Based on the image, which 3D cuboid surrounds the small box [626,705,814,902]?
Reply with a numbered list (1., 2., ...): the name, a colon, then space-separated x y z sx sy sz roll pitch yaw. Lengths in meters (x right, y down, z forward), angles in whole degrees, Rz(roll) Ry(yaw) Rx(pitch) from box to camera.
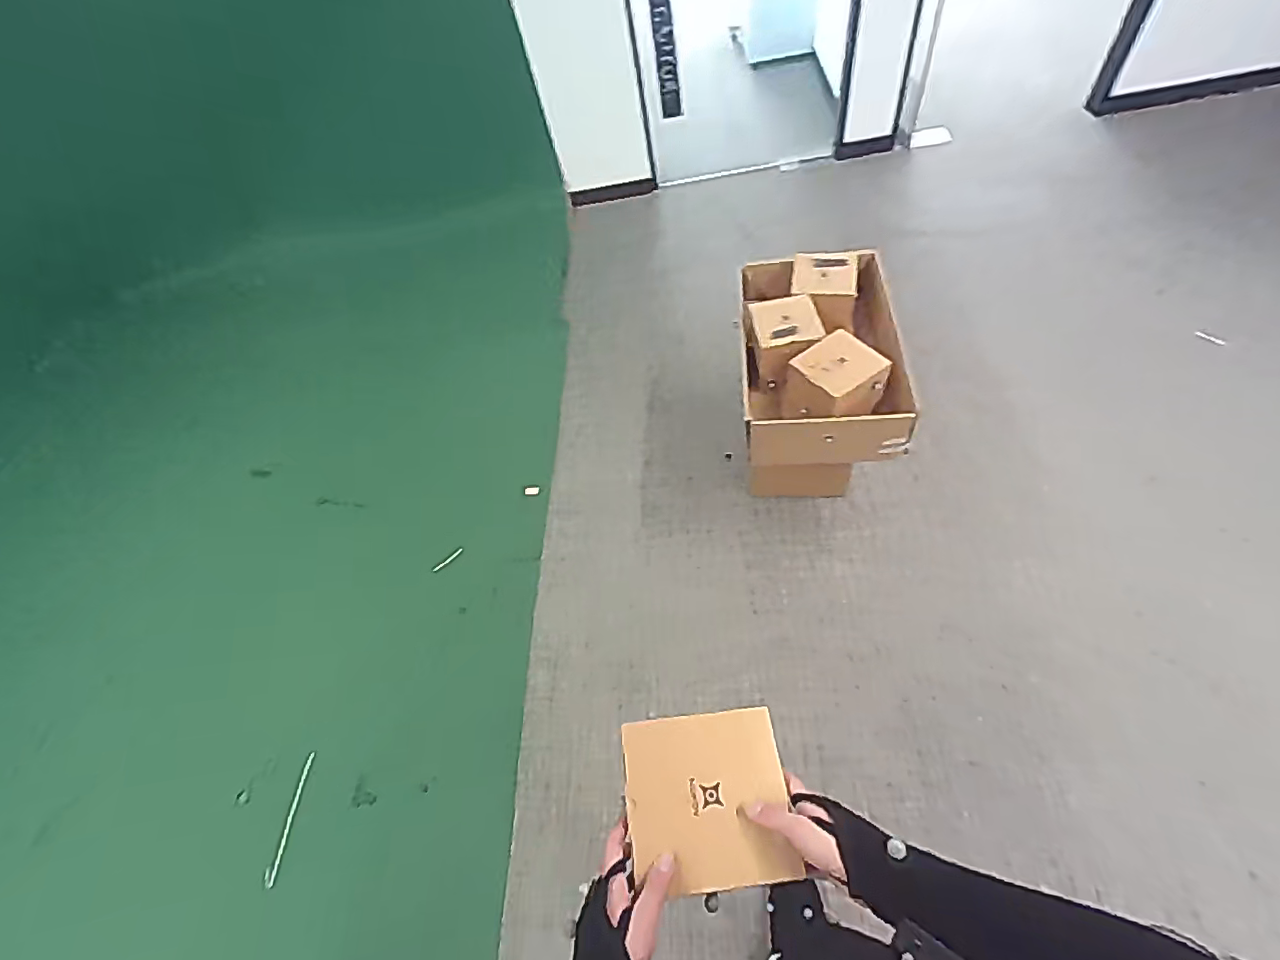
1. small box: 0.079 0.377 0.638 0.179 0.176 0.168 -7 56 -3
